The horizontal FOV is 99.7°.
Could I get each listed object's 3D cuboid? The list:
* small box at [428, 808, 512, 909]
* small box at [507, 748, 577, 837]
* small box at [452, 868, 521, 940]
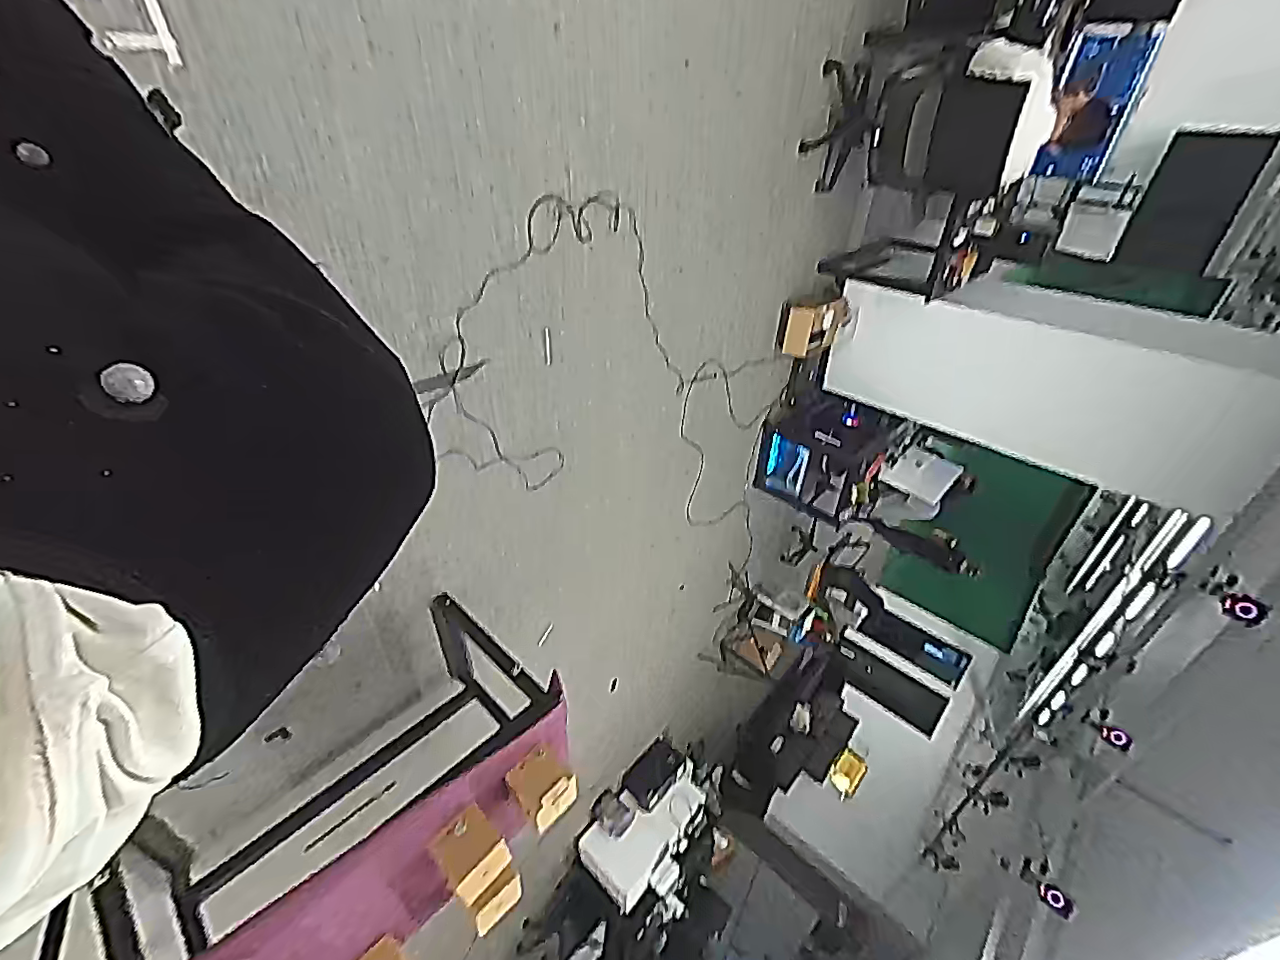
[{"bbox_3d":[-0.522,1.160,1.668,0.168,0.176,0.179,-35,140,-35],"label":"small box"},{"bbox_3d":[-0.334,1.050,1.834,0.168,0.176,0.179,-32,139,-36],"label":"small box"},{"bbox_3d":[-0.522,1.389,1.834,0.168,0.176,0.179,-28,134,-39],"label":"small box"}]
